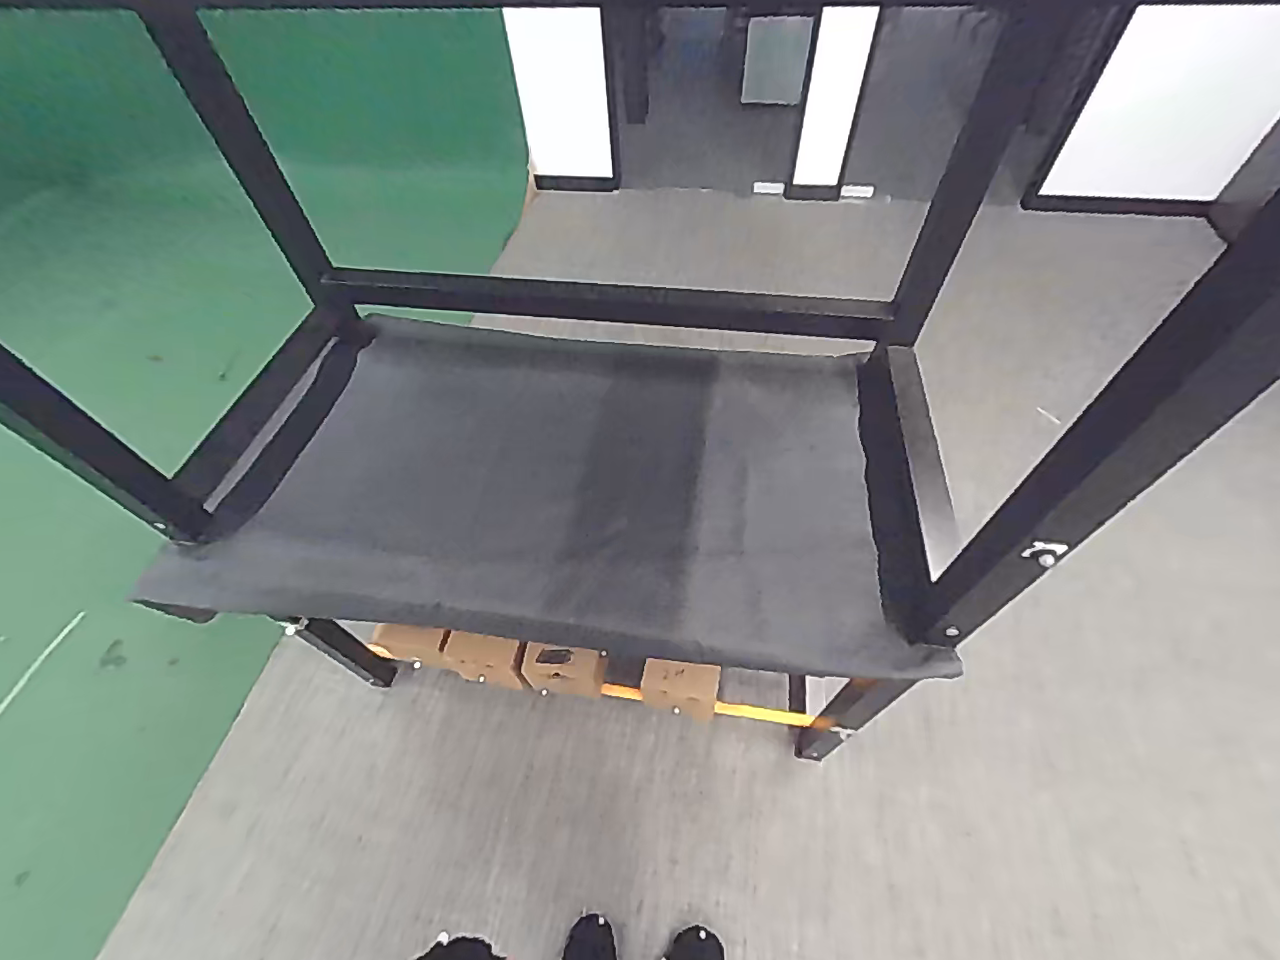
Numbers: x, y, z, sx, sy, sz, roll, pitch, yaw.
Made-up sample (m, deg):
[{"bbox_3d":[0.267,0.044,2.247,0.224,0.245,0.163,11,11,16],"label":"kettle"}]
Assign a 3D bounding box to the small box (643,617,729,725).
[{"bbox_3d":[0.109,0.451,1.270,0.168,0.176,0.179,9,56,11],"label":"small box"}]
